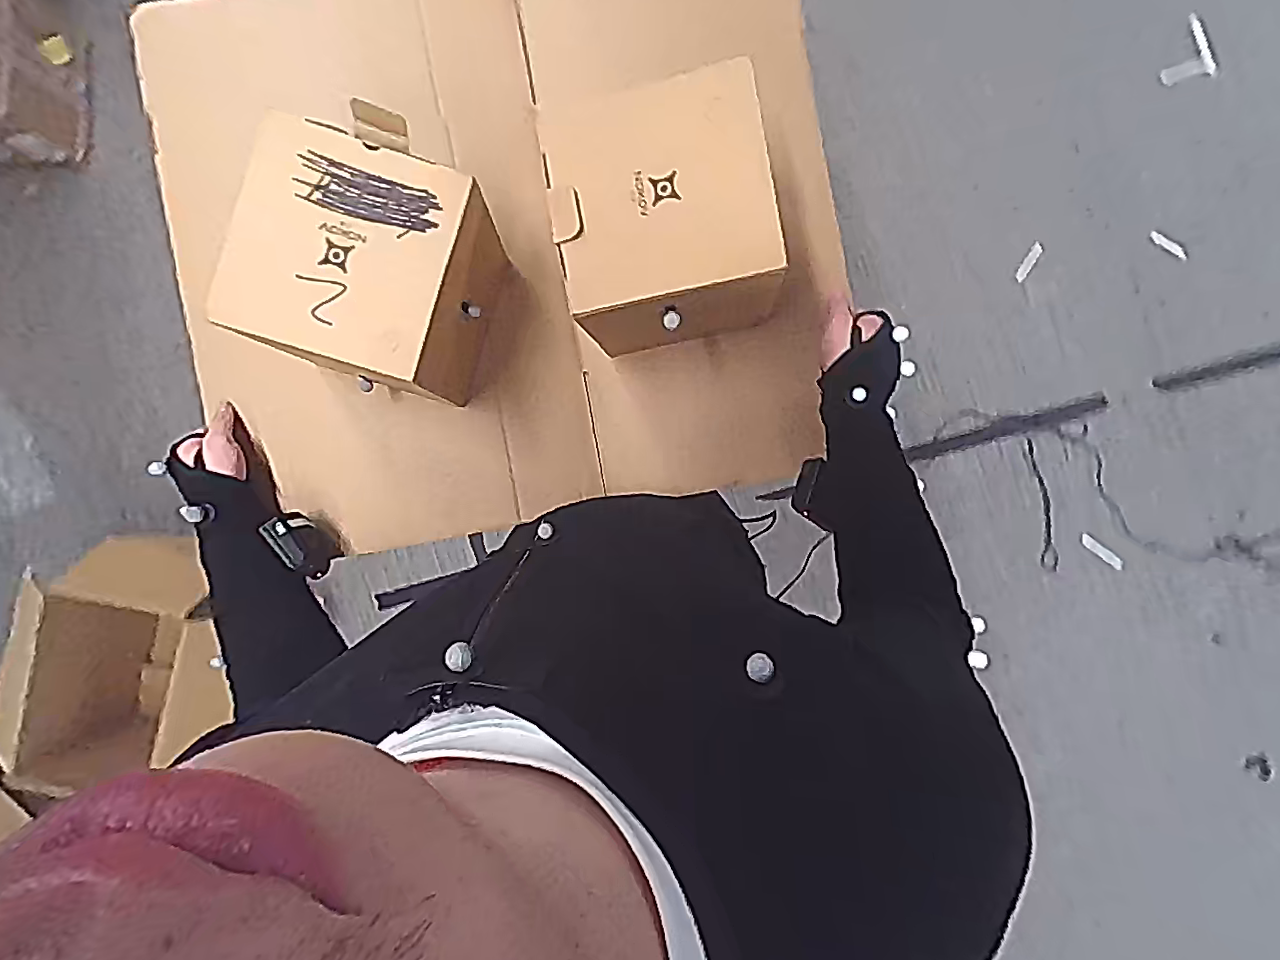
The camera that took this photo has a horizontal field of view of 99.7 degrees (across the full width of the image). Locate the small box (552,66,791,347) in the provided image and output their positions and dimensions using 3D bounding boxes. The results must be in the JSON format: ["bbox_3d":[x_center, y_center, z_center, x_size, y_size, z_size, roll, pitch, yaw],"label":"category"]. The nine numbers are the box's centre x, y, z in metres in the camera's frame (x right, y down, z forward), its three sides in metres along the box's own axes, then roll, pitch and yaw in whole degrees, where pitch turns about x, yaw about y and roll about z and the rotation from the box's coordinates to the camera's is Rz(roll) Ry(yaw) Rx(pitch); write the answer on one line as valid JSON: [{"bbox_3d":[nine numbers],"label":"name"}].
[{"bbox_3d":[0.034,-0.237,0.517,0.179,0.176,0.168,-9,91,9],"label":"small box"}]
